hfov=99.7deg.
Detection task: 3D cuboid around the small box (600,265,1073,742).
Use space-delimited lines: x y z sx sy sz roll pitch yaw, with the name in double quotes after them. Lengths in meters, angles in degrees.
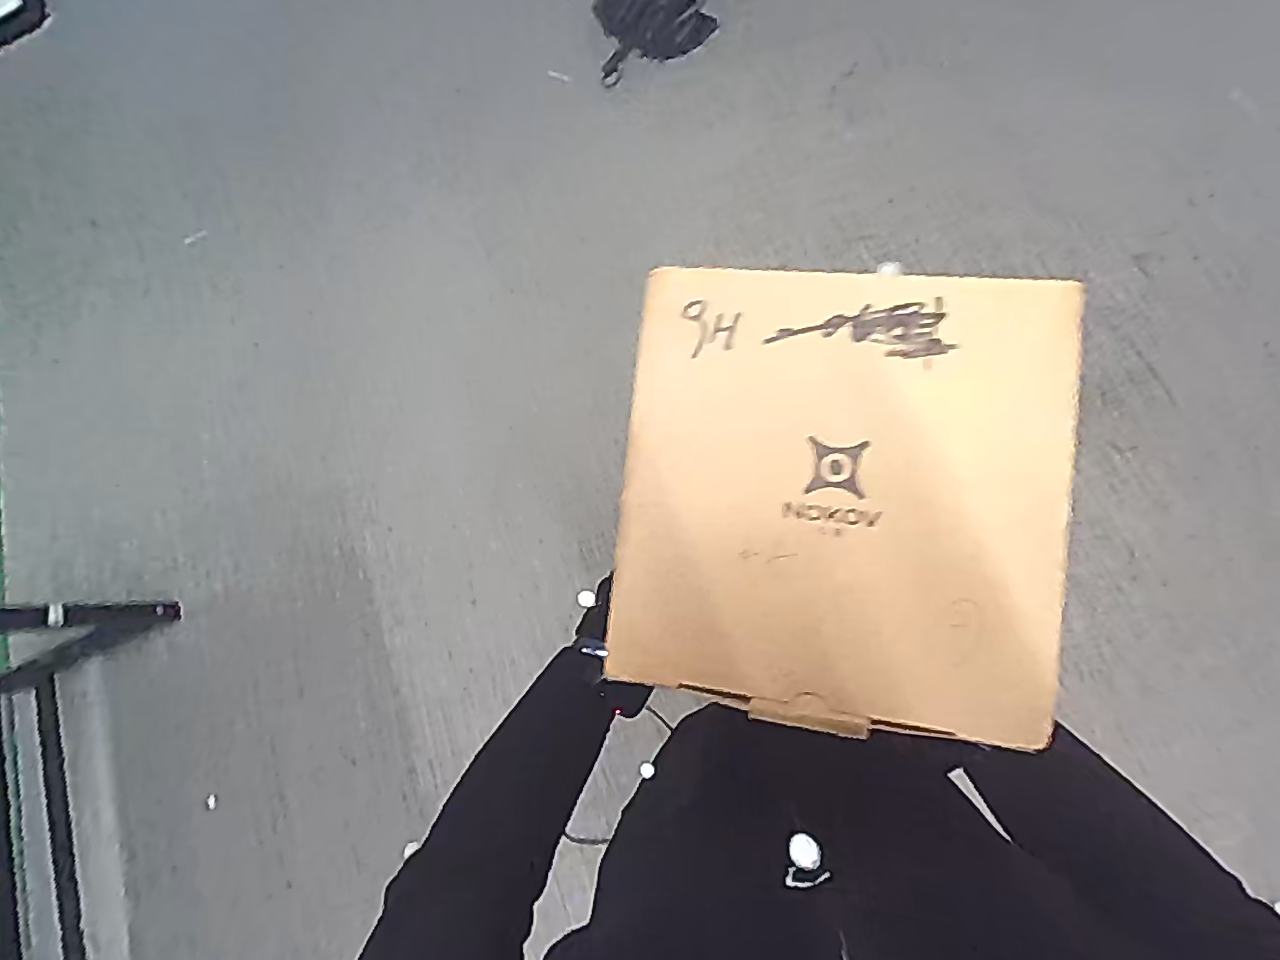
0.086 0.005 0.293 0.168 0.176 0.179 6 89 10 "small box"
